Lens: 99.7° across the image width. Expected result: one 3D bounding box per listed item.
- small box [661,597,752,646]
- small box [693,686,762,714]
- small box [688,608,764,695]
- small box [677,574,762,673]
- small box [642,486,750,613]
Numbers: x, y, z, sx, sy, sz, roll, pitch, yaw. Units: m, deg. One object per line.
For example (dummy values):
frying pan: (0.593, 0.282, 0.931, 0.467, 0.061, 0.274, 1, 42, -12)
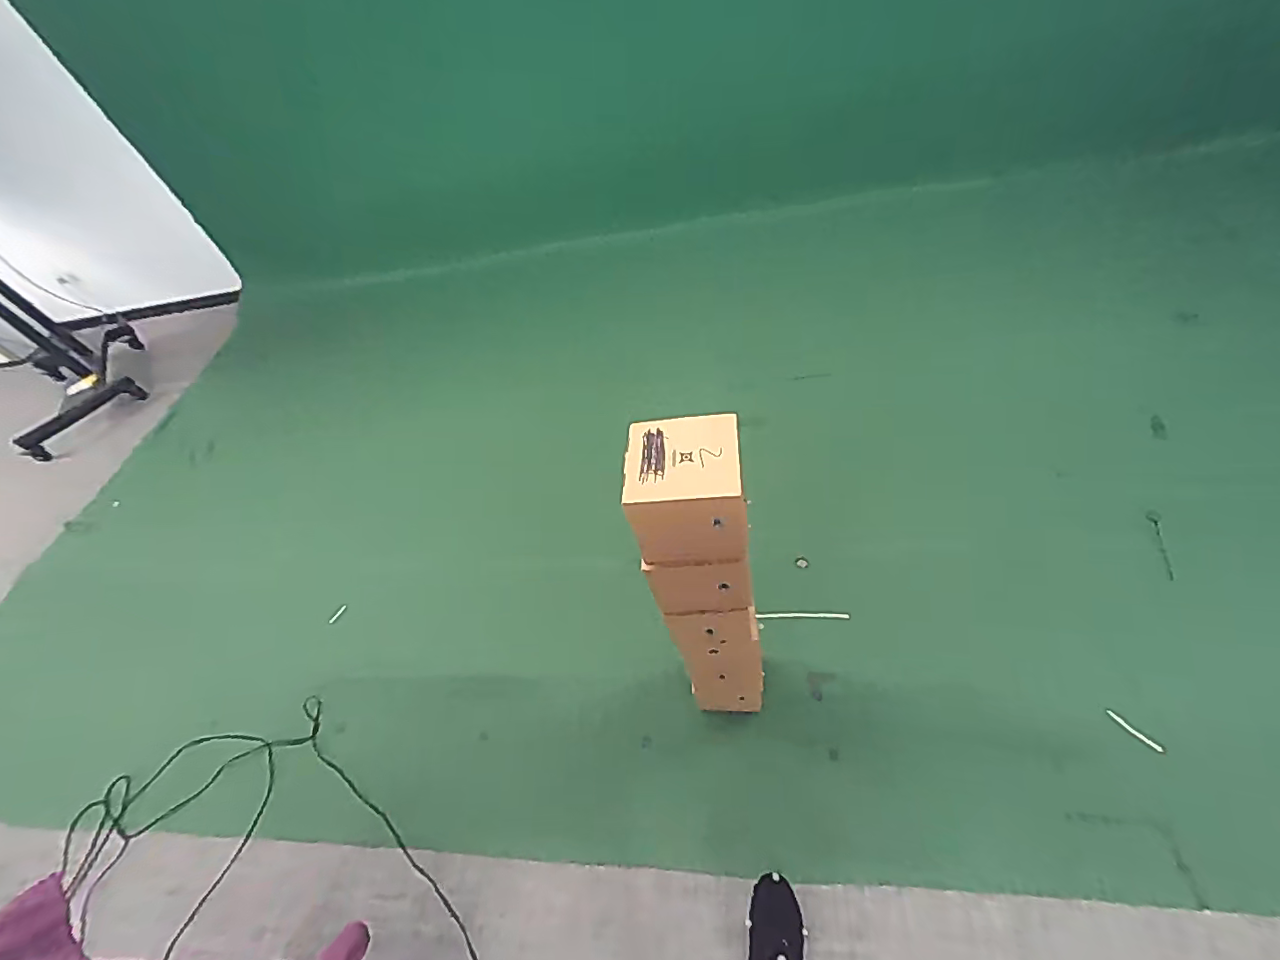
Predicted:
small box: (0.138, 0.235, 1.118, 0.168, 0.176, 0.179, -6, 52, 10)
small box: (0.244, 0.537, 1.487, 0.179, 0.176, 0.168, -4, 51, 12)
small box: (0.217, 0.435, 1.364, 0.179, 0.176, 0.168, -7, 51, 11)
small box: (0.180, 0.334, 1.240, 0.179, 0.176, 0.168, -7, 51, 9)
small box: (0.108, 0.132, 0.993, 0.179, 0.176, 0.168, -6, 50, 11)
